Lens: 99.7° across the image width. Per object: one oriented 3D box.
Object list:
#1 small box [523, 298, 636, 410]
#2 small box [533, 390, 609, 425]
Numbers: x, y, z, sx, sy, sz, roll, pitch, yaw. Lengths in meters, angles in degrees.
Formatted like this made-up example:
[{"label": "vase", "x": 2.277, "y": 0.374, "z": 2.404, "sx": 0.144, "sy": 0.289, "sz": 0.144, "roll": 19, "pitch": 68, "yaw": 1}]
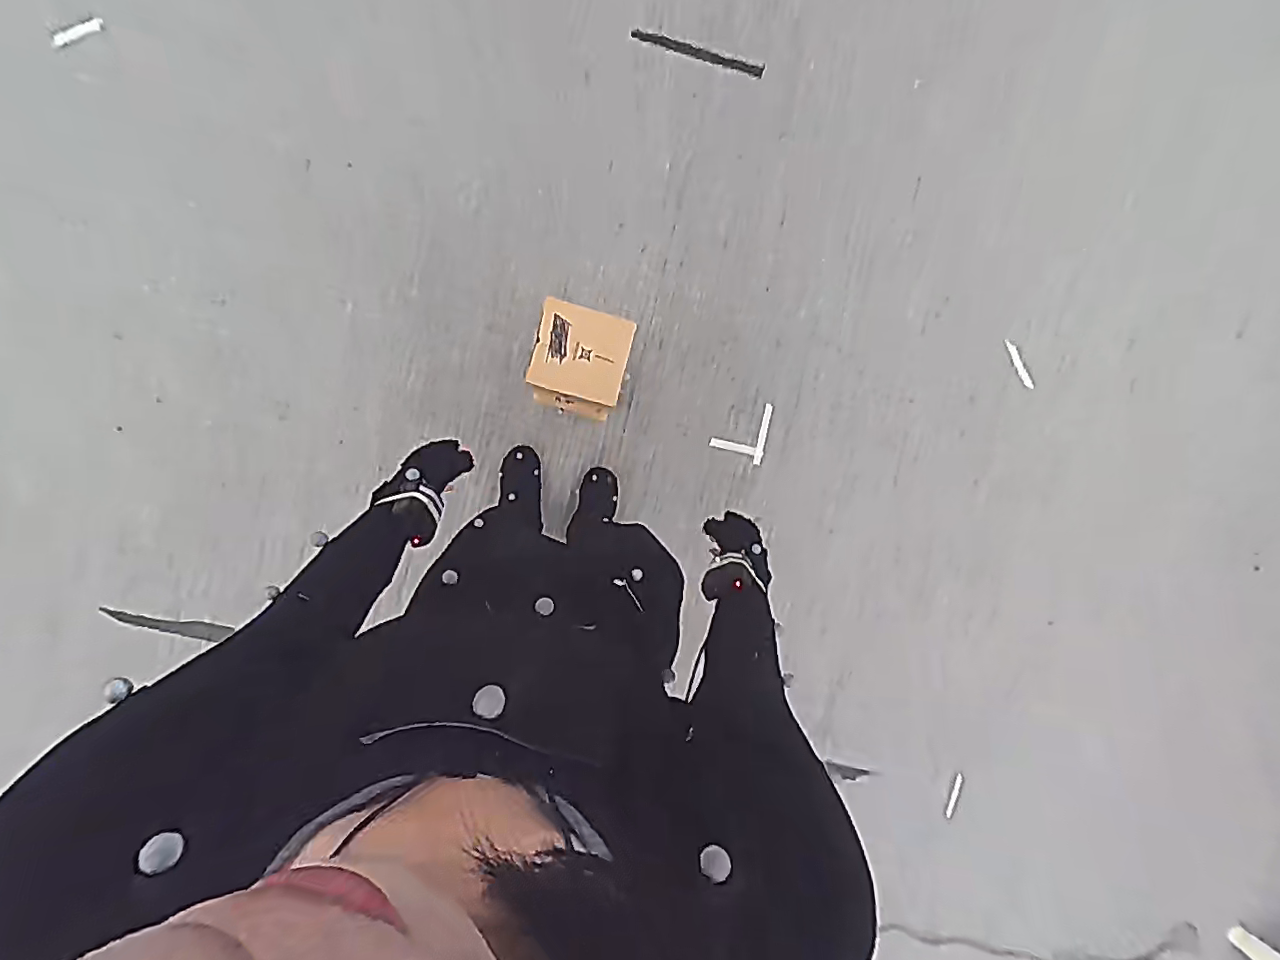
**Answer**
[{"label": "small box", "x": -0.120, "y": -0.241, "z": 1.083, "sx": 0.179, "sy": 0.176, "sz": 0.168, "roll": 15, "pitch": 92, "yaw": -7}, {"label": "small box", "x": -0.138, "y": -0.235, "z": 1.248, "sx": 0.168, "sy": 0.176, "sz": 0.179, "roll": 18, "pitch": 91, "yaw": -6}]
